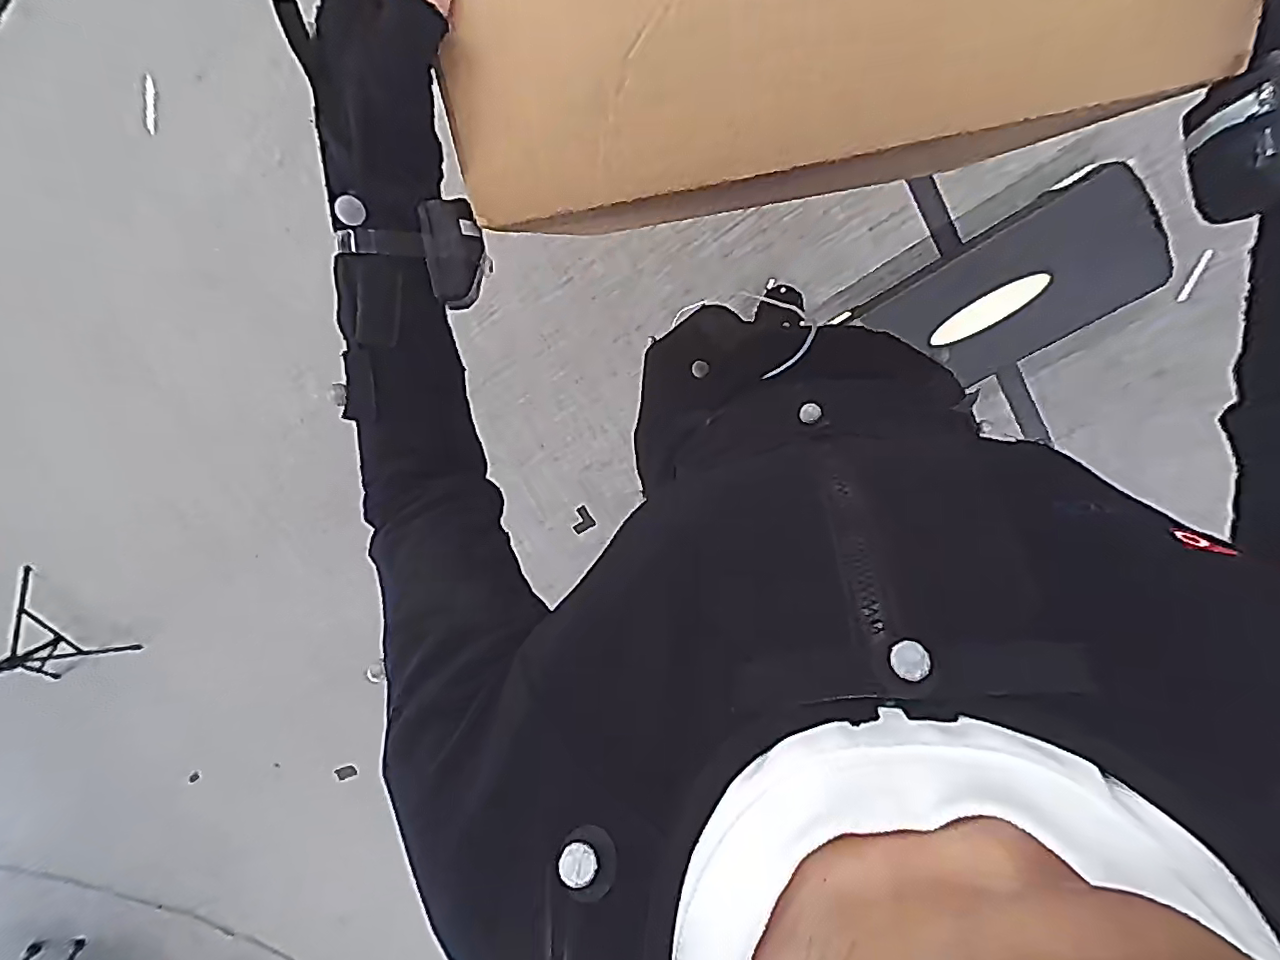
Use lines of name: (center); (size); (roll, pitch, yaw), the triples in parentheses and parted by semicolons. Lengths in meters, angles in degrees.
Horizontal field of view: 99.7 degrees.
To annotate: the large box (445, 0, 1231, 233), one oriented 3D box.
large box: (0.092, -0.387, 0.393); (0.408, 0.320, 0.320); (-6, 113, 10)
